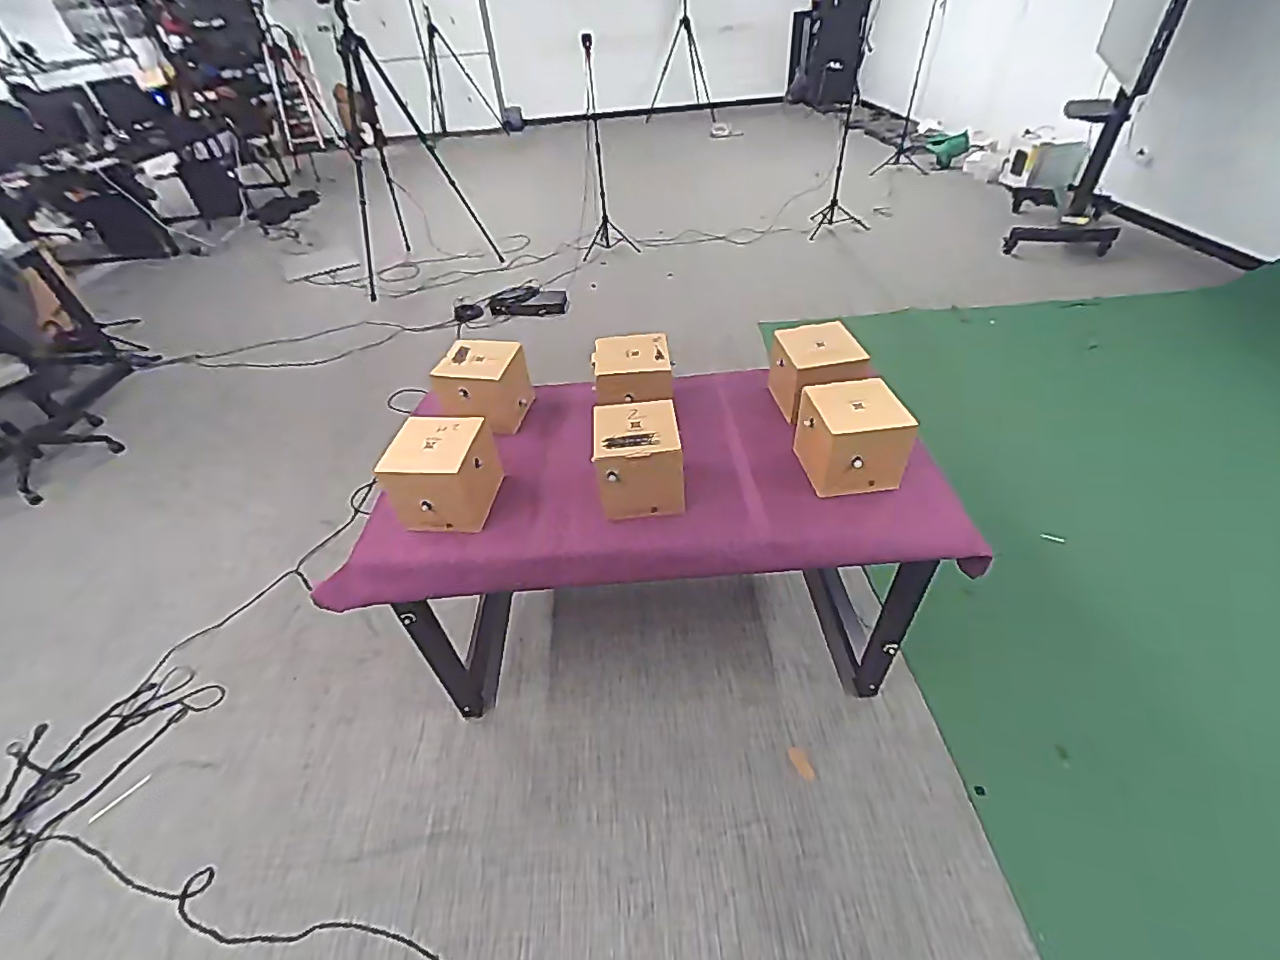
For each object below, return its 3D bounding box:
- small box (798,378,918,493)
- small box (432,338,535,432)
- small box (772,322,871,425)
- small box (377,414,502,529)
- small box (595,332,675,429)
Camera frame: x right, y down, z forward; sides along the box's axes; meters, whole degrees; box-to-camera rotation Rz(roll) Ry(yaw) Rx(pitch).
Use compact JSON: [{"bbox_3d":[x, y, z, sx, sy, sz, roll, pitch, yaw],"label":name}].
[{"bbox_3d":[0.437,-0.087,1.113,0.168,0.176,0.179,-7,40,-1],"label":"small box"},{"bbox_3d":[-0.379,-0.235,1.342,0.179,0.176,0.168,5,45,9],"label":"small box"},{"bbox_3d":[0.423,-0.255,1.296,0.168,0.176,0.179,-8,44,-2],"label":"small box"},{"bbox_3d":[-0.397,-0.016,1.110,0.168,0.176,0.179,2,43,6],"label":"small box"},{"bbox_3d":[-0.010,-0.238,1.316,0.179,0.176,0.168,-5,45,1],"label":"small box"}]
